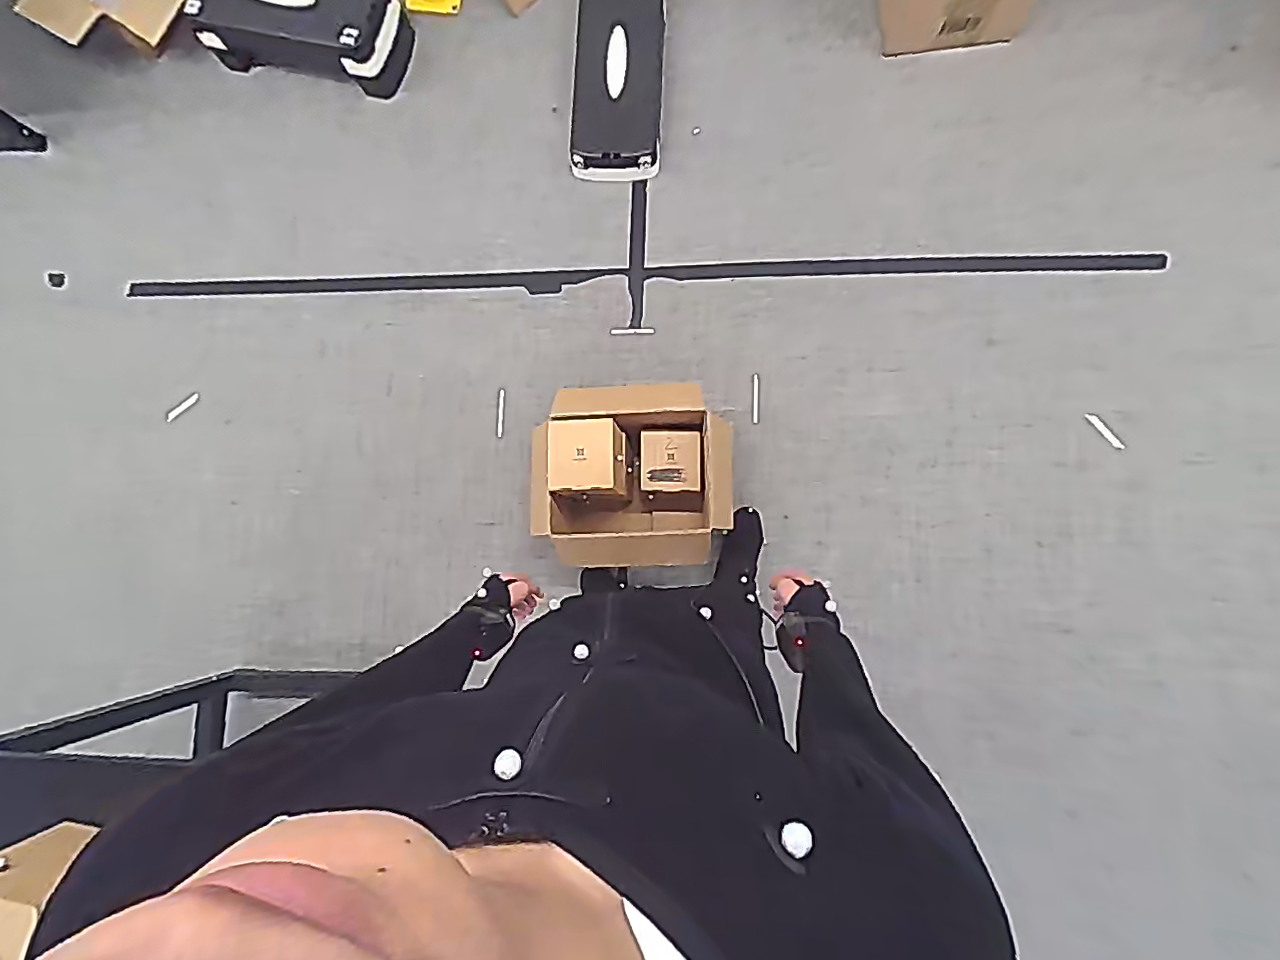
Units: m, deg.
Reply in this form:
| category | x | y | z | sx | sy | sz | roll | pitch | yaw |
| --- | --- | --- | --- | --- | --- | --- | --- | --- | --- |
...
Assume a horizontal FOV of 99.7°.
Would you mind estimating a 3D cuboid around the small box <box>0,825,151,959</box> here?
| category | x | y | z | sx | sy | sz | roll | pitch | yaw |
| --- | --- | --- | --- | --- | --- | --- | --- | --- | --- |
| small box | -0.921 | 0.666 | 0.828 | 0.179 | 0.176 | 0.168 | 8 | 85 | 5 |
